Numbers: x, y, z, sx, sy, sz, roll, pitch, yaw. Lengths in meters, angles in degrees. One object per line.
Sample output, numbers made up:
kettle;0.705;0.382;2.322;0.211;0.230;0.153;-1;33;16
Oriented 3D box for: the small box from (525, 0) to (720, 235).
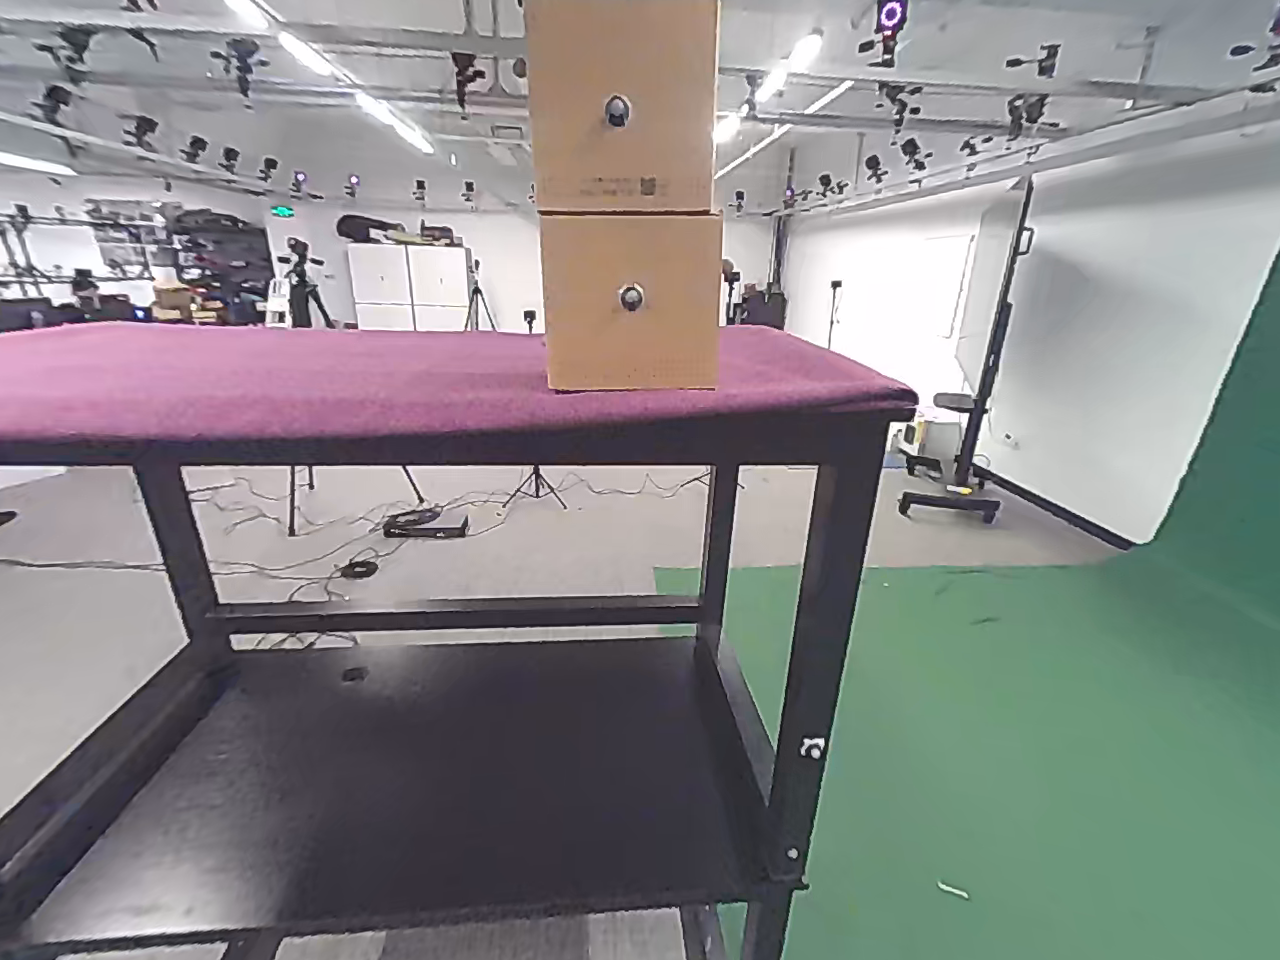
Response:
small box;-0.016;-0.350;0.548;0.168;0.176;0.179;-1;19;-3
